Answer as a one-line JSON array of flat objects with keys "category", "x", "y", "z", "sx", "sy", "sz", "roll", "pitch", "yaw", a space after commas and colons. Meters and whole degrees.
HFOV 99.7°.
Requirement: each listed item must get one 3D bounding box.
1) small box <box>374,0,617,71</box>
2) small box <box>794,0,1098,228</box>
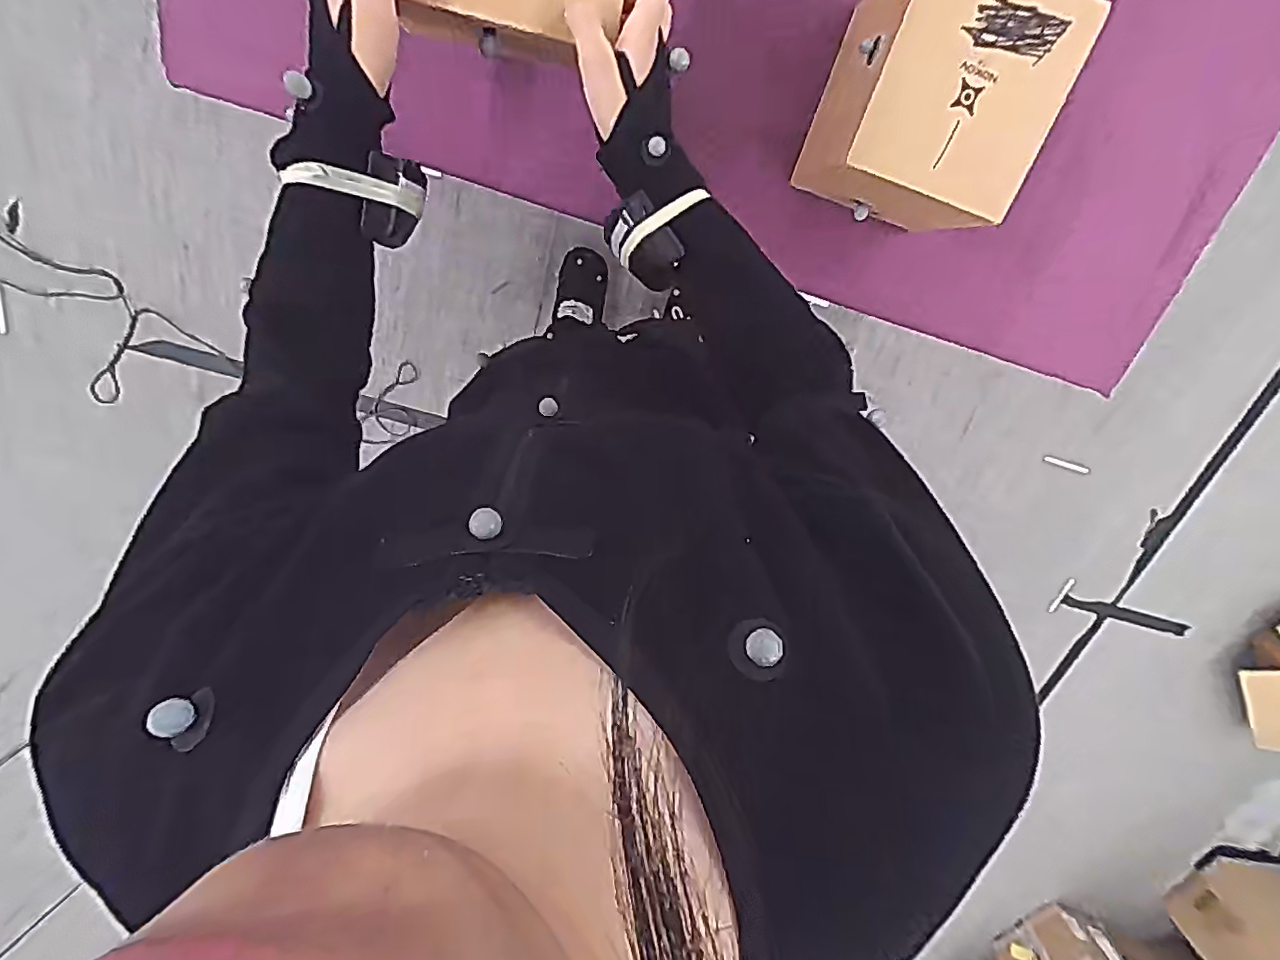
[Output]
[{"category": "small box", "x": -0.107, "y": -0.442, "z": 0.422, "sx": 0.179, "sy": 0.176, "sz": 0.168, "roll": 4, "pitch": 121, "yaw": -16}, {"category": "small box", "x": 0.277, "y": -0.371, "z": 0.541, "sx": 0.168, "sy": 0.176, "sz": 0.179, "roll": 16, "pitch": 112, "yaw": -9}]
